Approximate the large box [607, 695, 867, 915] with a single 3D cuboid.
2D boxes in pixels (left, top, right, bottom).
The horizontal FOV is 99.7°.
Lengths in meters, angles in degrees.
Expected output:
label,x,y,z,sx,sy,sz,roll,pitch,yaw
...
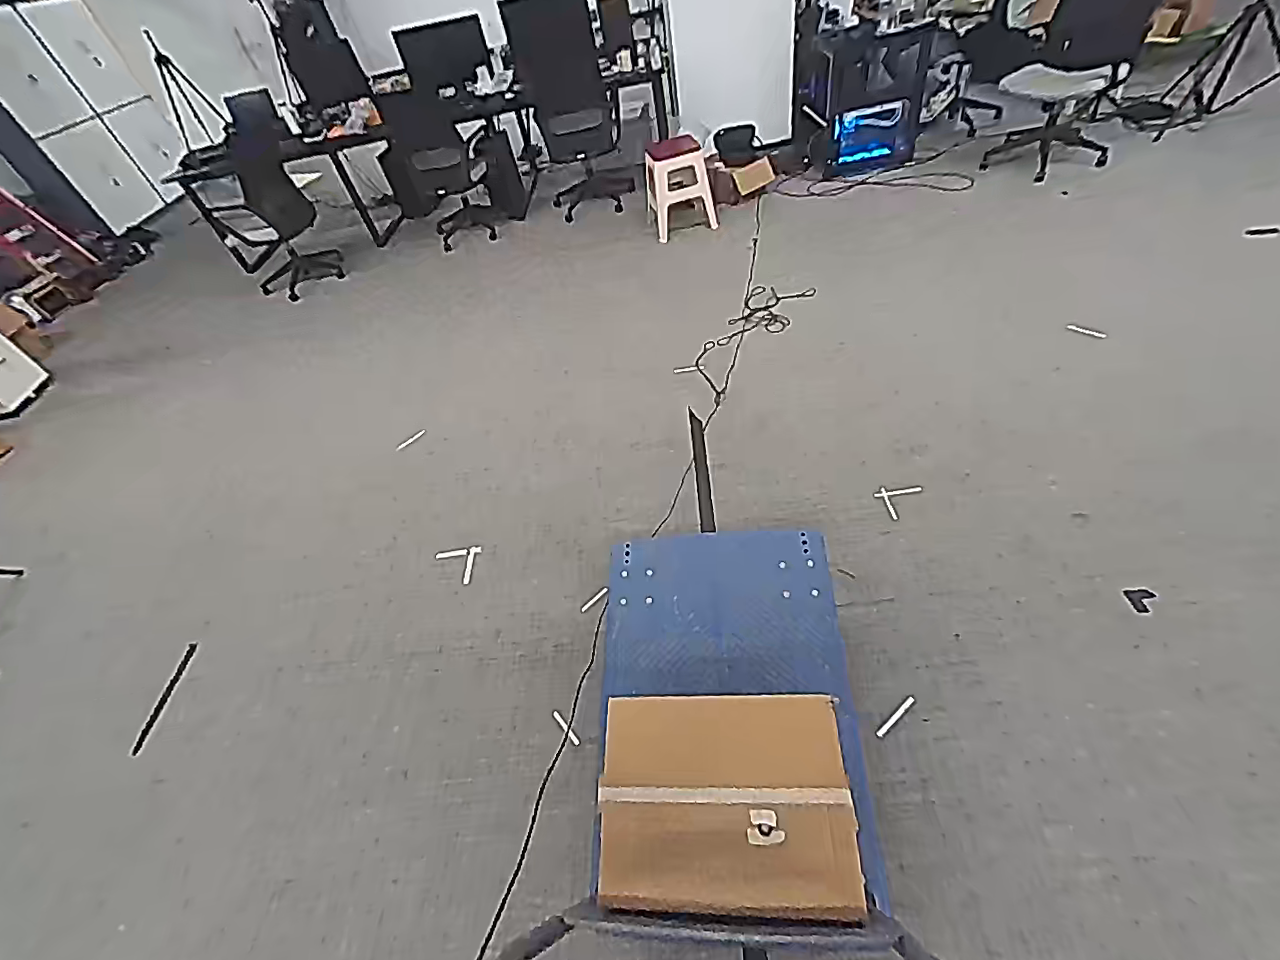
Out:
label,x,y,z,sx,sy,sz,roll,pitch,yaw
large box,0.166,0.612,1.025,0.408,0.320,0.320,-5,55,9
